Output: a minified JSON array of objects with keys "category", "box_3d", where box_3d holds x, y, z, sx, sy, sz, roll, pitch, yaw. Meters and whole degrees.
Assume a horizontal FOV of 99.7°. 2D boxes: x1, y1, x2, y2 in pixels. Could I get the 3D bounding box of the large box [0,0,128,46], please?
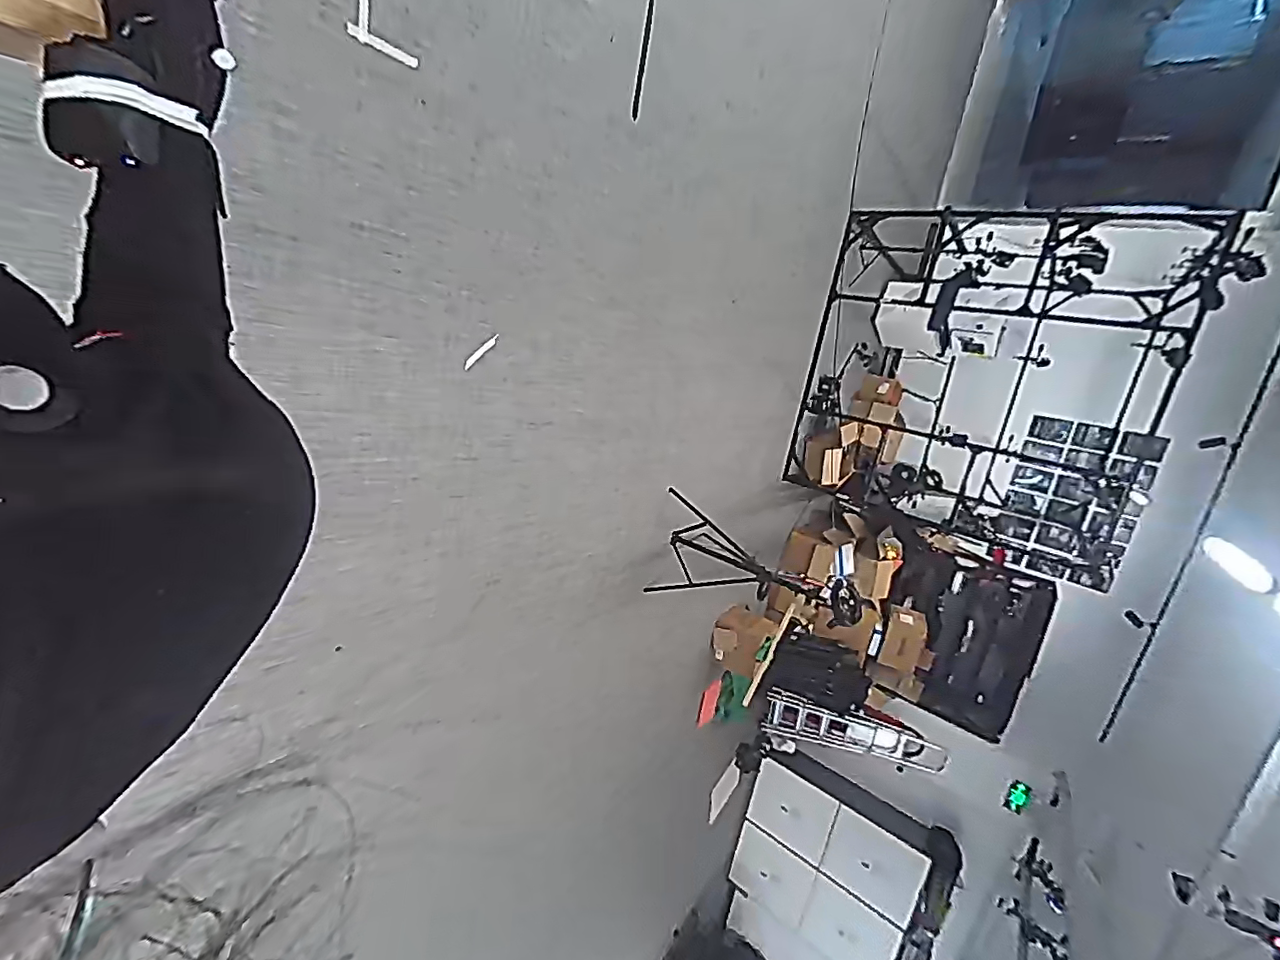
[{"category":"large box","box_3d":[-0.575,-0.482,0.261,0.408,0.320,0.320,-15,126,-53]}]
